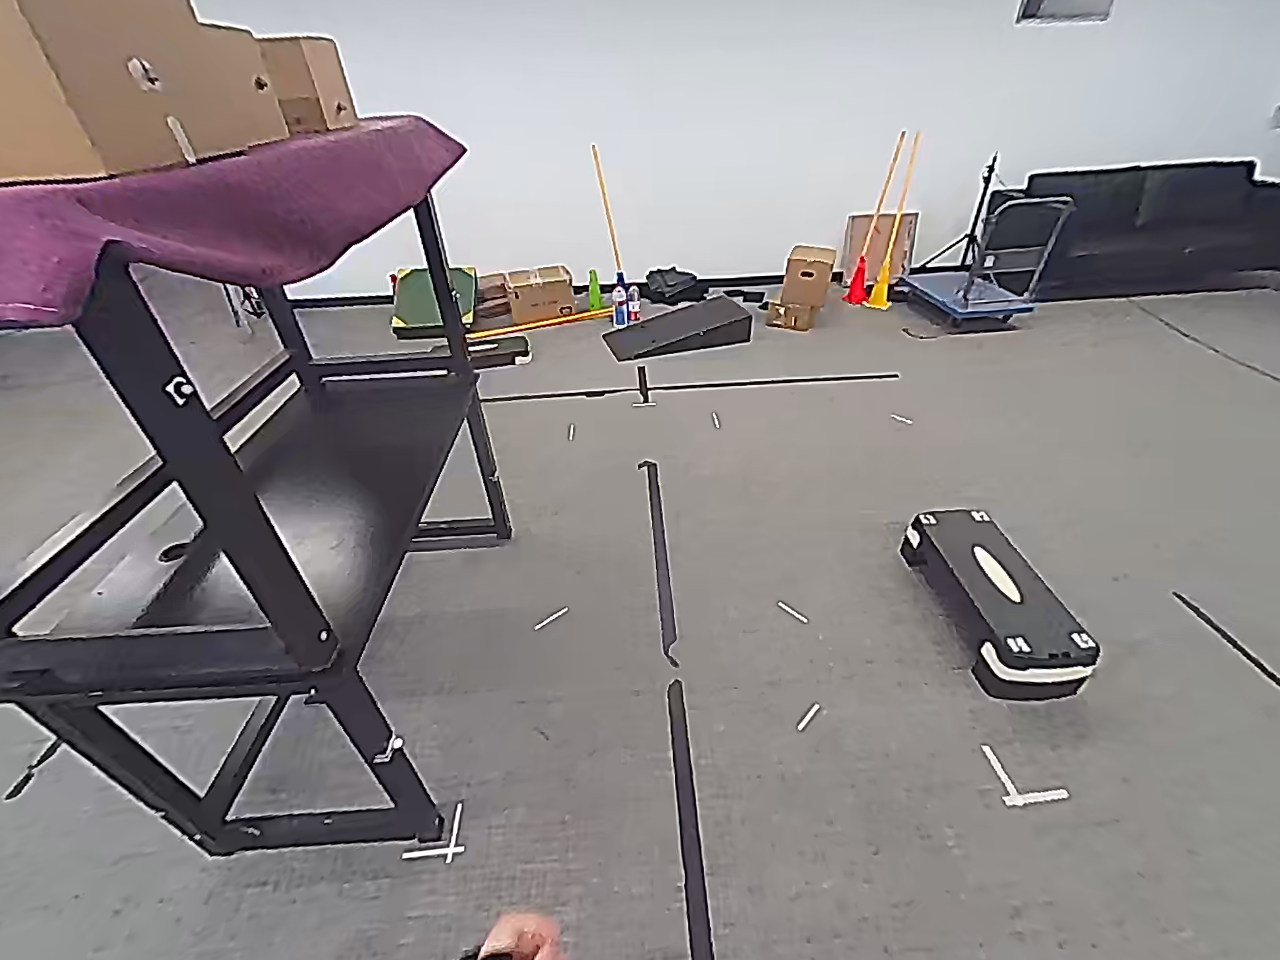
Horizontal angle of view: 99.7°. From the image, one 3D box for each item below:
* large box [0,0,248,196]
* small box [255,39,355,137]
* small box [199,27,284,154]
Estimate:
[{"bbox_3d":[-0.782,-0.511,0.612,0.408,0.320,0.320,-5,36,-2],"label":"large box"},{"bbox_3d":[-0.779,-0.886,1.230,0.168,0.176,0.179,-3,36,1],"label":"small box"},{"bbox_3d":[-0.765,-0.673,0.945,0.168,0.176,0.179,-4,37,0],"label":"small box"}]
